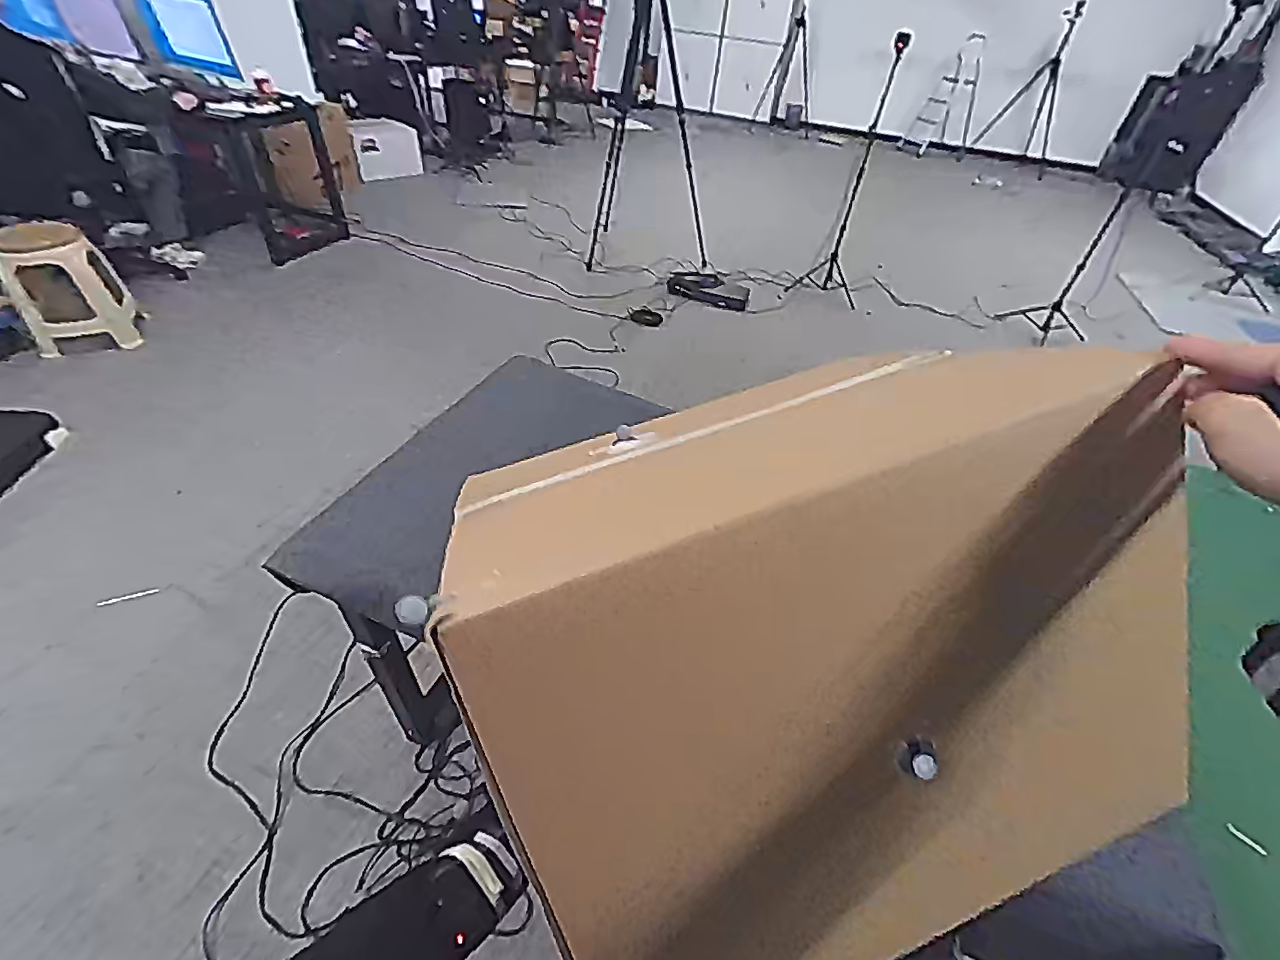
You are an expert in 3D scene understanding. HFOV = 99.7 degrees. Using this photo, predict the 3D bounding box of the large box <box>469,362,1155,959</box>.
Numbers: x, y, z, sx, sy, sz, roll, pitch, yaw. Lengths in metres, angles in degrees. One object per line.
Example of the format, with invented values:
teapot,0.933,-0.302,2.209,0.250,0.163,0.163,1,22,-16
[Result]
large box,0.113,0.114,0.448,0.408,0.320,0.320,-20,16,-11
